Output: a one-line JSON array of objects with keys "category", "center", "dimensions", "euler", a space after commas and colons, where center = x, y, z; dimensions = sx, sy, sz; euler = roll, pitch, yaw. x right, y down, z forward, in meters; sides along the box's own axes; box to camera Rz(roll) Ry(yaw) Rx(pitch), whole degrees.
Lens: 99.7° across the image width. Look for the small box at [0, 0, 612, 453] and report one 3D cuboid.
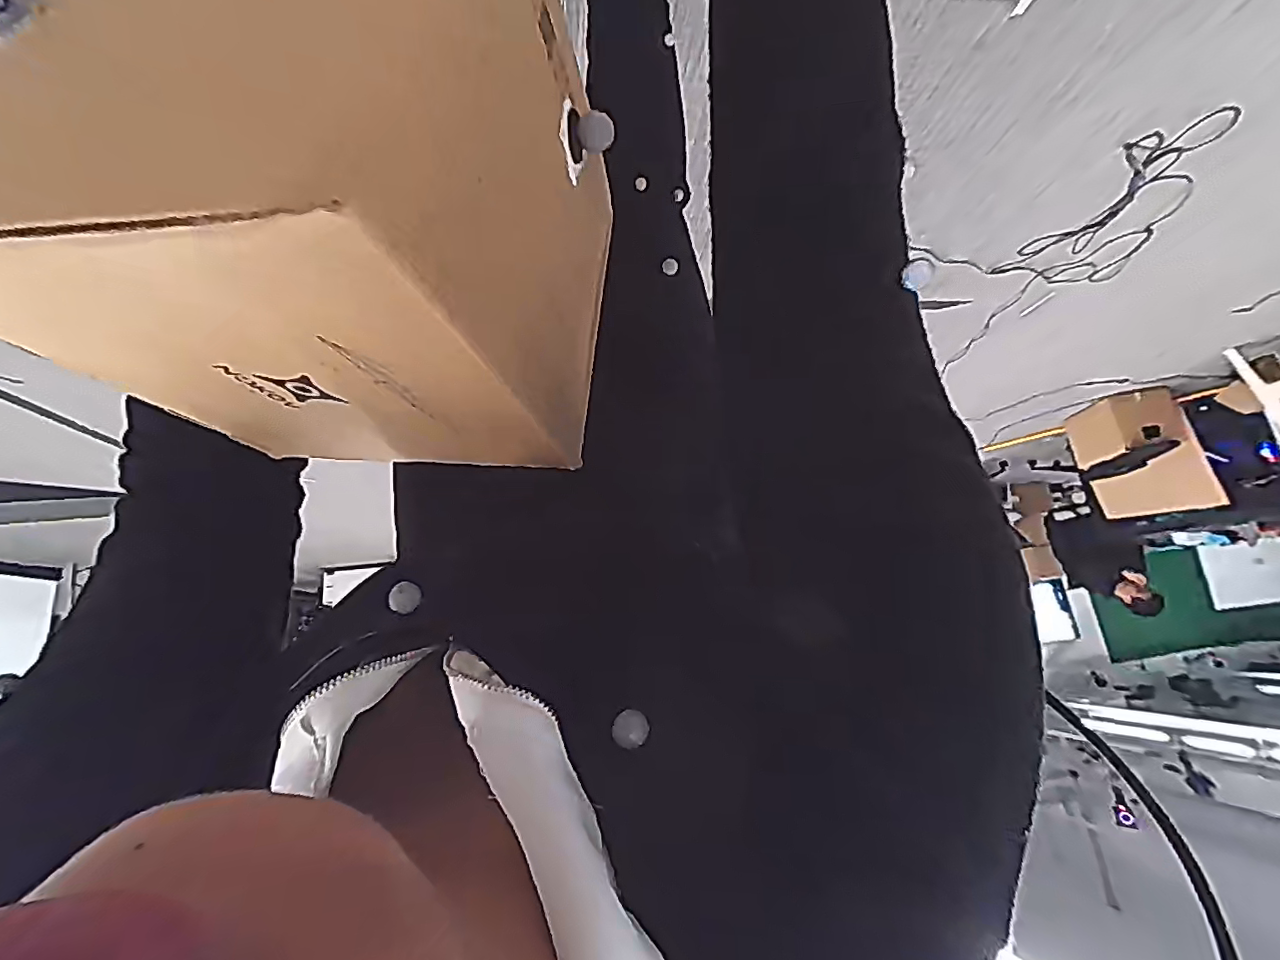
[{"category": "small box", "center": [-0.120, -0.120, 0.232], "dimensions": [0.179, 0.176, 0.168], "euler": [1, 164, 12]}]
